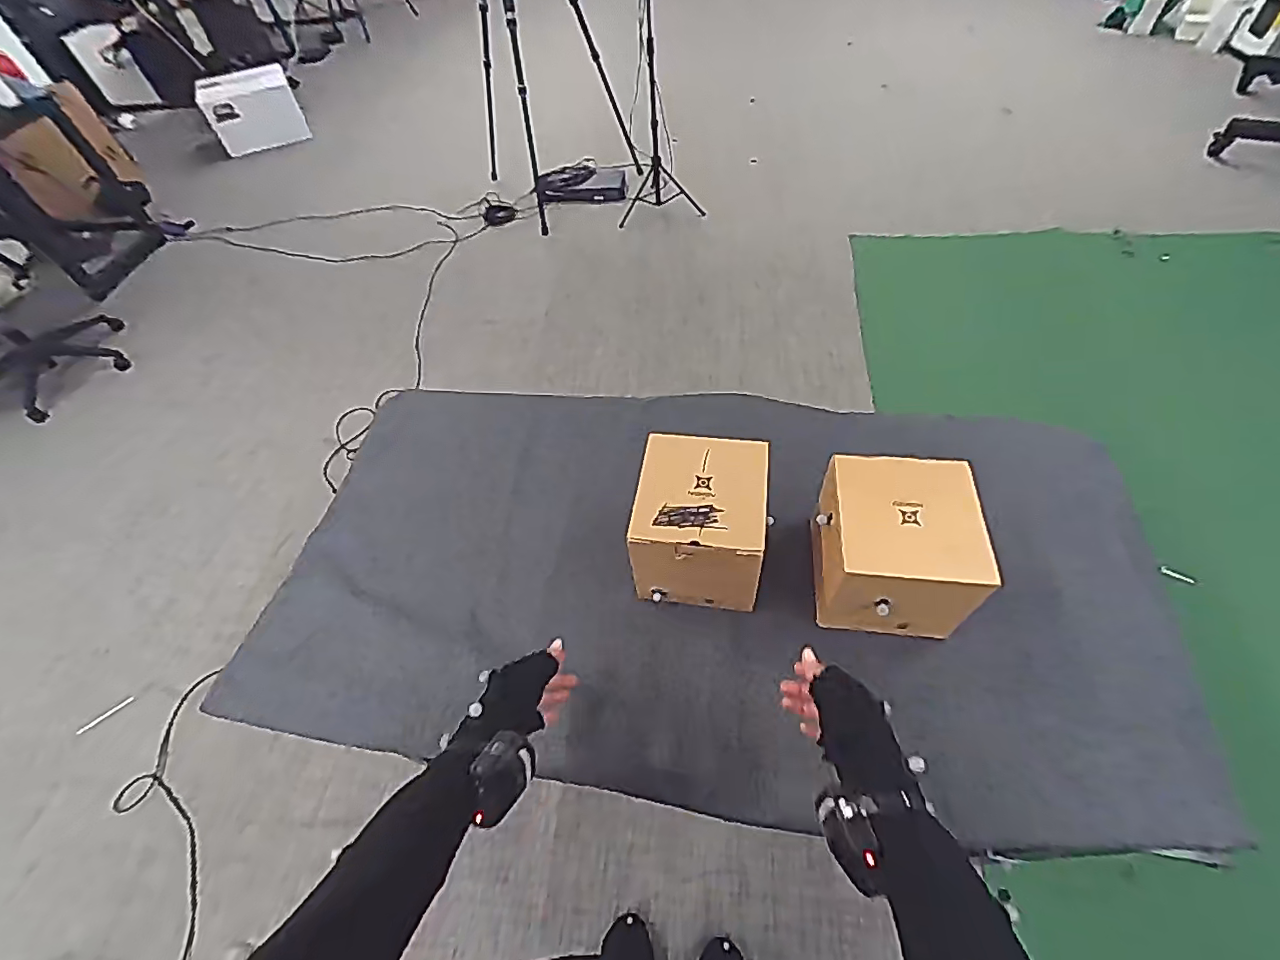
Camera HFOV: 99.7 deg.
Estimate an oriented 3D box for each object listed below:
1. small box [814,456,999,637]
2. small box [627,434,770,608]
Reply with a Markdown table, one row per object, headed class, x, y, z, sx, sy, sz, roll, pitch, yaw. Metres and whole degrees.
| class | x | y | z | sx | sy | sz | roll | pitch | yaw |
| --- | --- | --- | --- | --- | --- | --- | --- | --- | --- |
| small box | 0.328 | 0.089 | 0.705 | 0.168 | 0.176 | 0.179 | 3 | 53 | 9 |
| small box | 0.086 | 0.060 | 0.751 | 0.168 | 0.176 | 0.179 | 6 | 53 | 10 |
